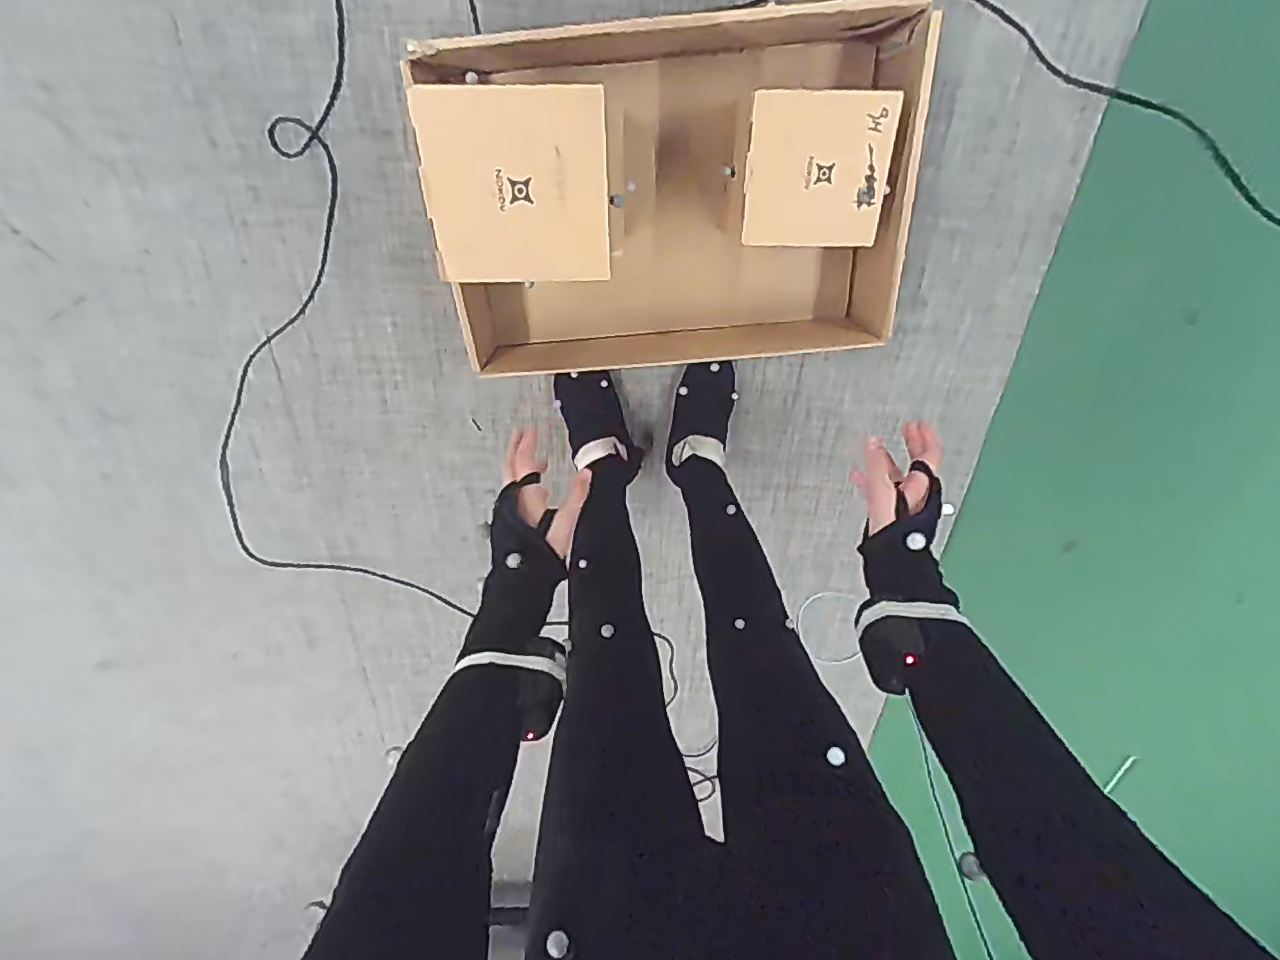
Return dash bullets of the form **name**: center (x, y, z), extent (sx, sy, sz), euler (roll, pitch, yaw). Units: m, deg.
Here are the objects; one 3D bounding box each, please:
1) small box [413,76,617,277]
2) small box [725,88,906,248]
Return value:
- **small box**: center (-0.114, -0.318, 0.579), extent (0.179, 0.176, 0.168), euler (-1, 121, -2)
- **small box**: center (0.216, -0.410, 0.723), extent (0.179, 0.176, 0.168), euler (1, 119, -1)
